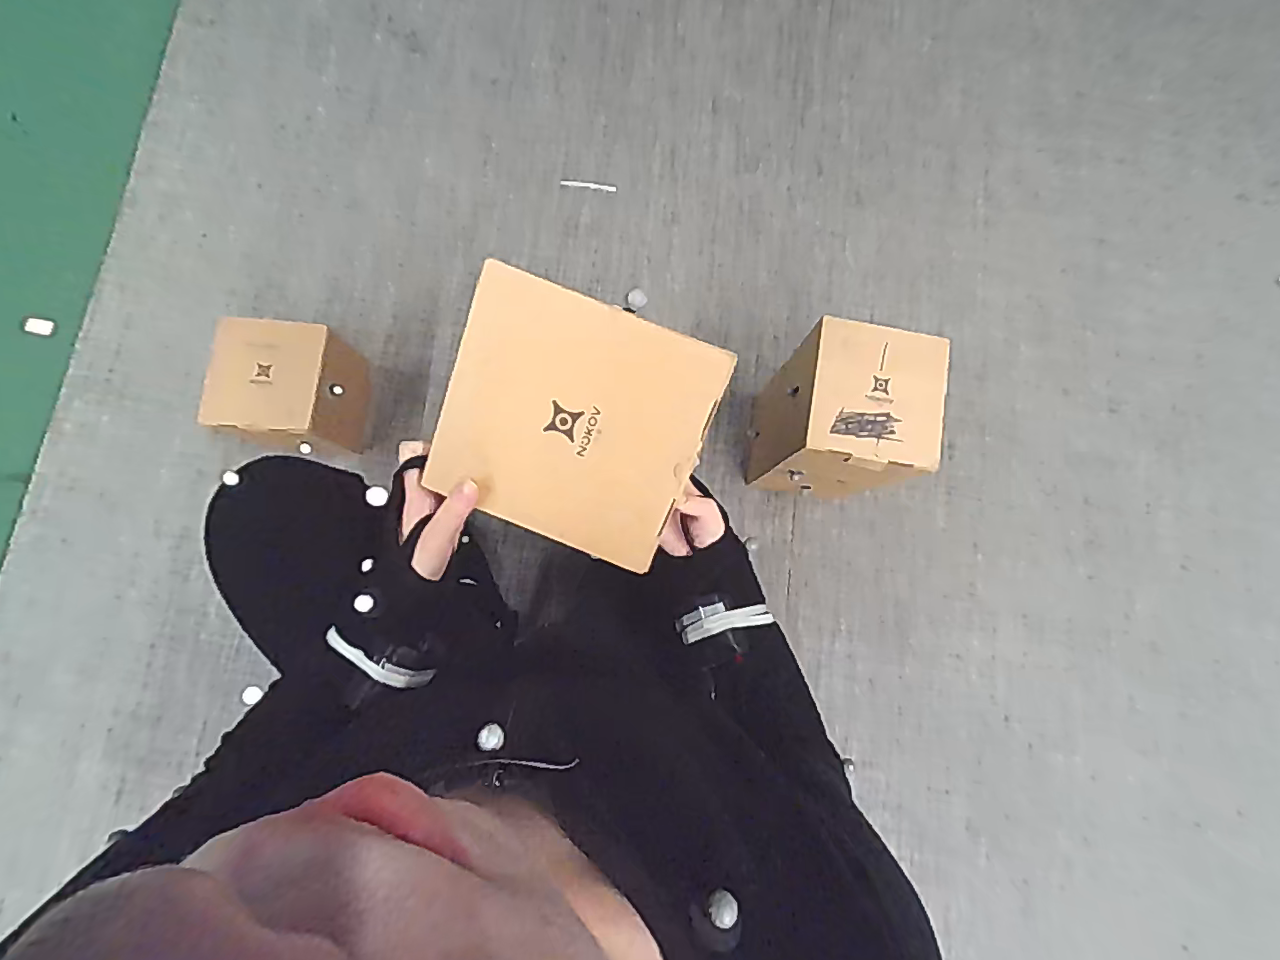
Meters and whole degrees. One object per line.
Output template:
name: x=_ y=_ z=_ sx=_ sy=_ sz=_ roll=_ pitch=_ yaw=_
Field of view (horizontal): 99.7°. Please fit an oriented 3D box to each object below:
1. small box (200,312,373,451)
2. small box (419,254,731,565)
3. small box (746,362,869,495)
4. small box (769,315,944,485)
small box: x=-0.570 y=-0.153 z=0.898 sx=0.168 sy=0.176 sz=0.179 roll=6 pitch=80 yaw=-2
small box: x=-0.042 y=-0.060 z=0.446 sx=0.179 sy=0.176 sz=0.168 roll=23 pitch=105 yaw=0
small box: x=0.284 y=-0.076 z=0.911 sx=0.168 sy=0.176 sz=0.179 roll=10 pitch=81 yaw=-1
small box: x=0.286 y=-0.098 z=0.747 sx=0.168 sy=0.176 sz=0.179 roll=11 pitch=80 yaw=0
